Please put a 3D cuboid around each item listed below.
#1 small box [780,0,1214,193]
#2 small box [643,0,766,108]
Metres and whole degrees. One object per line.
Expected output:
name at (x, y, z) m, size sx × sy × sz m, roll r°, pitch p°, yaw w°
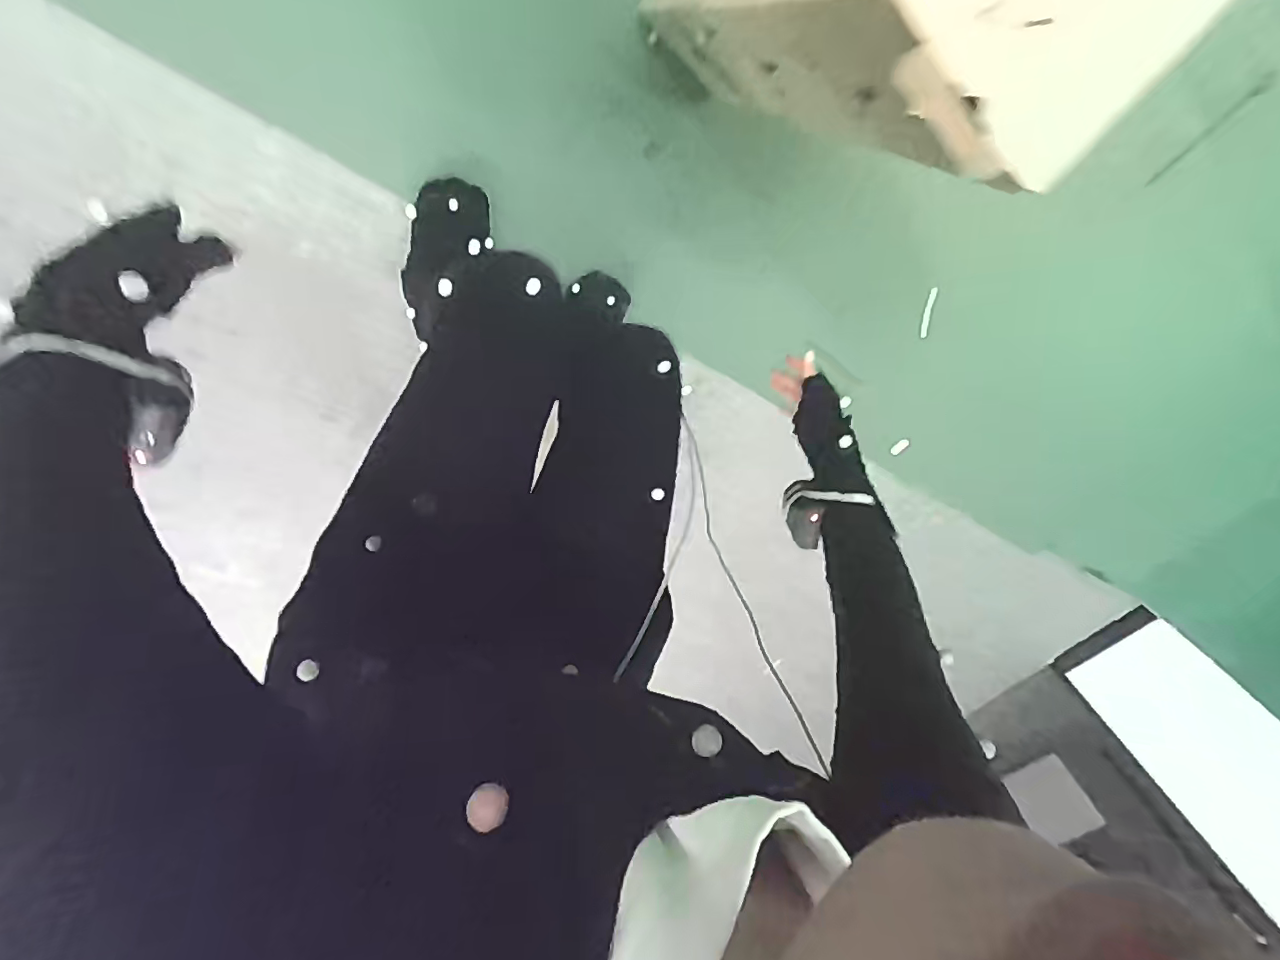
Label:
small box at (0.222, -0.327, 0.339) m, size 0.168 × 0.176 × 0.179 m, roll 24°, pitch 120°, yaw -31°
small box at (0.119, -0.637, 0.708) m, size 0.168 × 0.176 × 0.179 m, roll 23°, pitch 122°, yaw -30°
